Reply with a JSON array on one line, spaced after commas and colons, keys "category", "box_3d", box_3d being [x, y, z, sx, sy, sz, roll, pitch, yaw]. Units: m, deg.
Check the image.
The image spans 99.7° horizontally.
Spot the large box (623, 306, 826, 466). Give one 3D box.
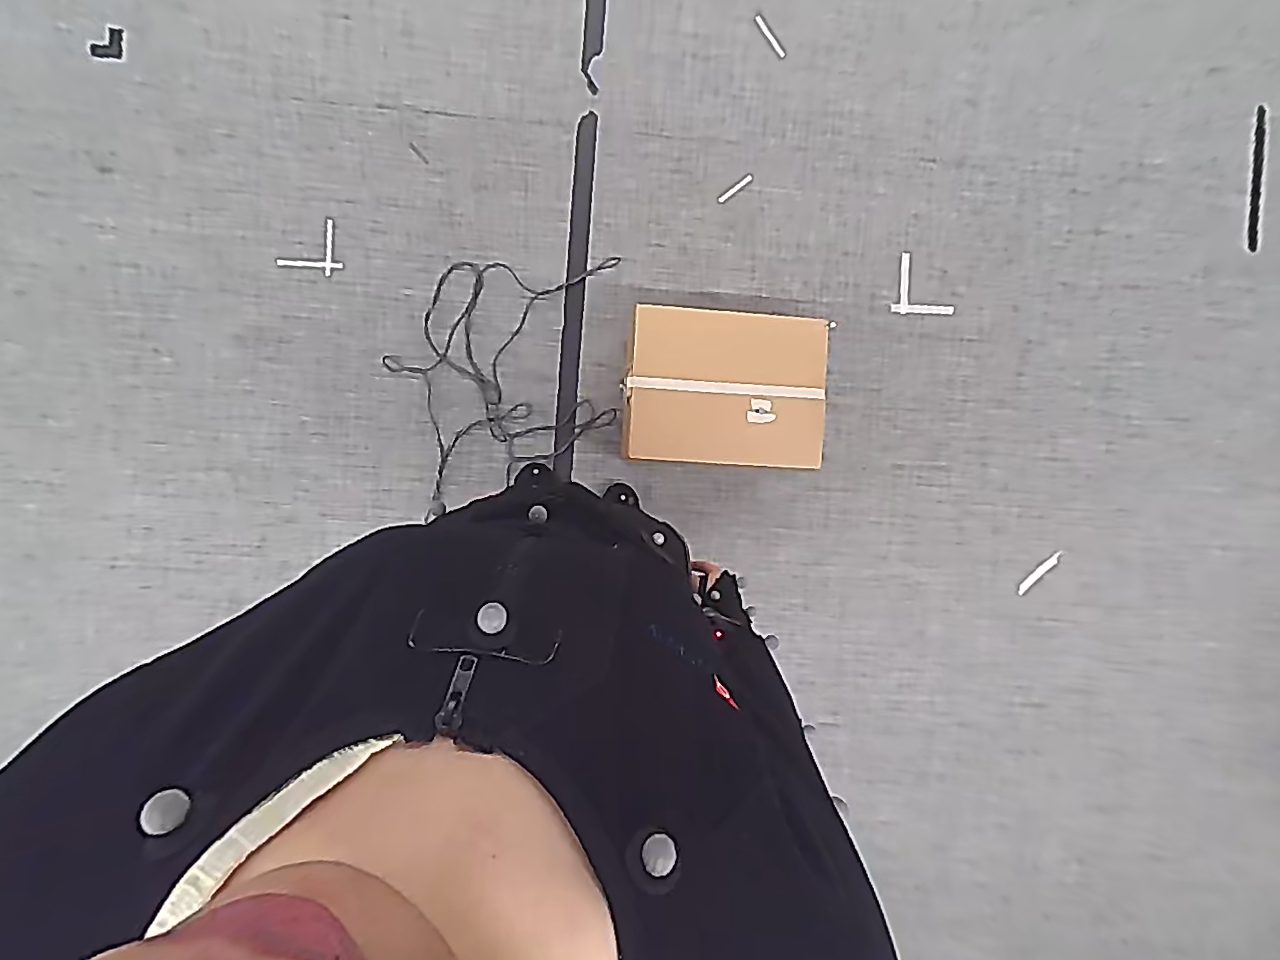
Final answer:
[{"category": "large box", "box_3d": [0.170, -0.193, 1.256, 0.408, 0.320, 0.320, 3, 92, -5]}]
